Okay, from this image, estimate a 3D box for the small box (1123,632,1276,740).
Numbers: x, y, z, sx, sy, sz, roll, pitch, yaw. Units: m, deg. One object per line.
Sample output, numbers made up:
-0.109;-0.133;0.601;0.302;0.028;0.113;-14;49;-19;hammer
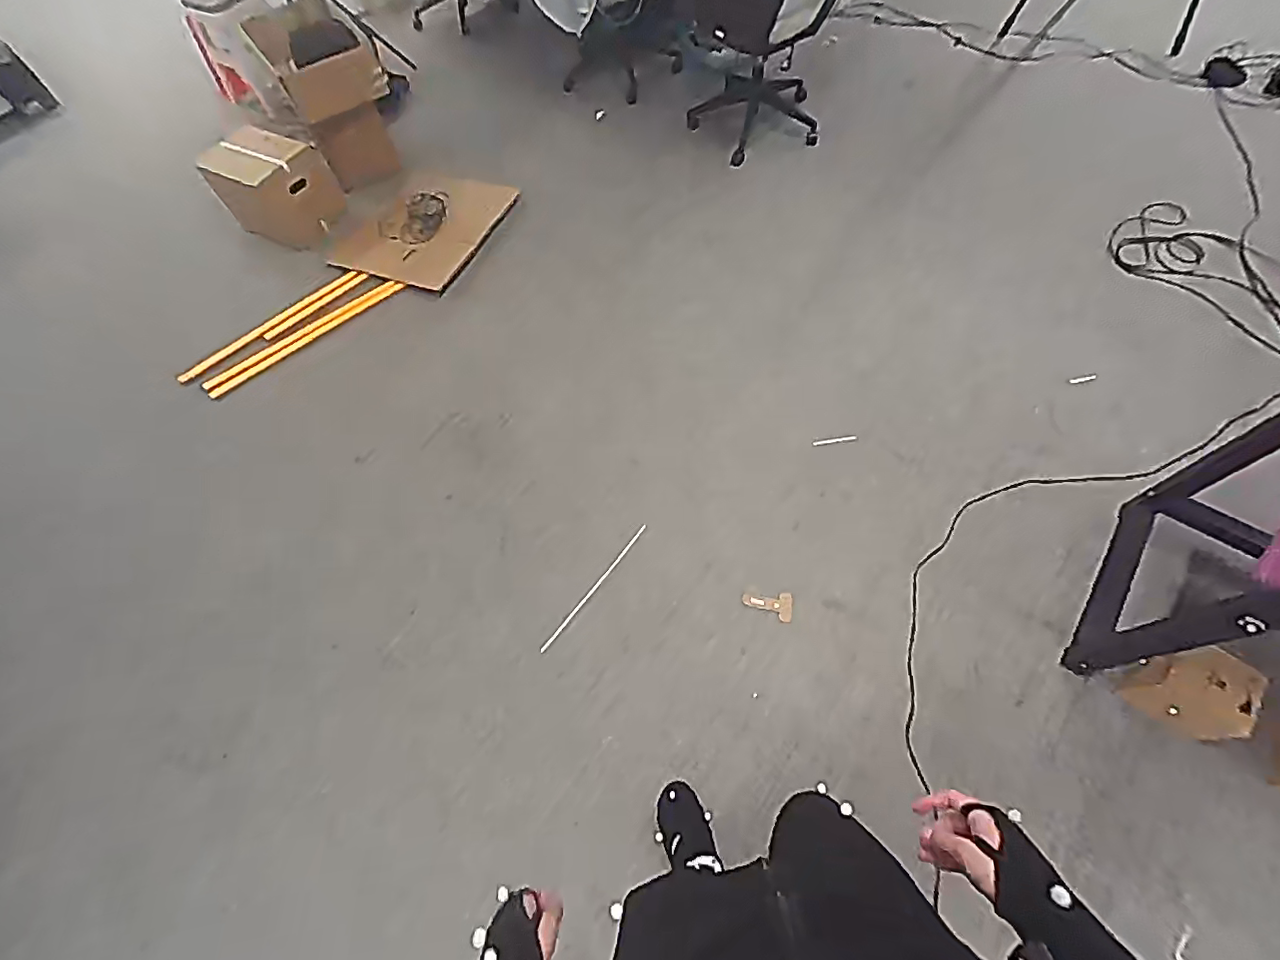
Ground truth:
1.327;0.500;1.297;0.179;0.176;0.168;36;70;21;small box
